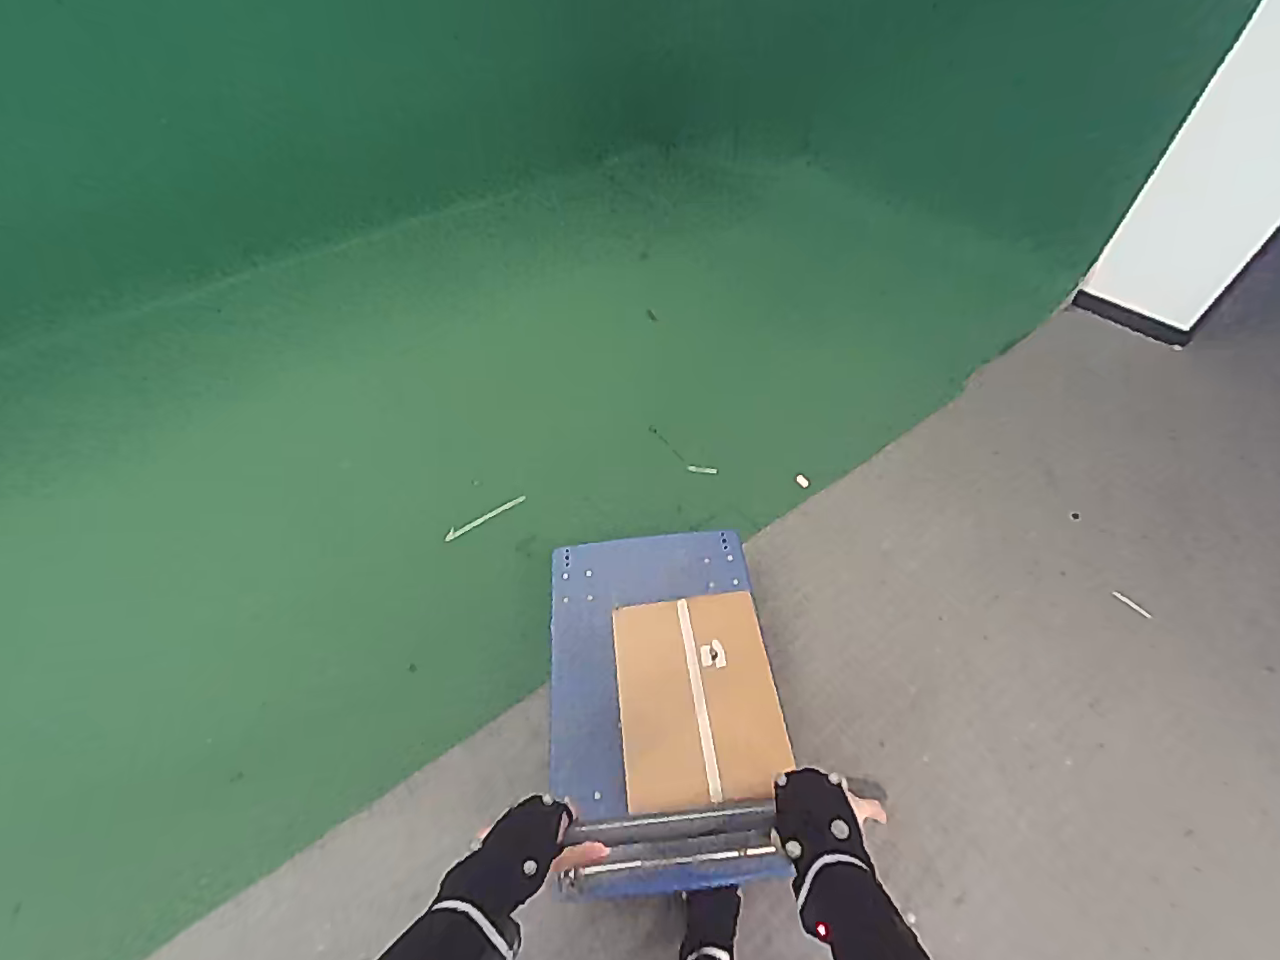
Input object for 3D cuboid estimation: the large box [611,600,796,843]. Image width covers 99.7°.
[{"bbox_3d":[0.119,0.537,1.211,0.320,0.320,0.408,-7,49,-2],"label":"large box"}]
